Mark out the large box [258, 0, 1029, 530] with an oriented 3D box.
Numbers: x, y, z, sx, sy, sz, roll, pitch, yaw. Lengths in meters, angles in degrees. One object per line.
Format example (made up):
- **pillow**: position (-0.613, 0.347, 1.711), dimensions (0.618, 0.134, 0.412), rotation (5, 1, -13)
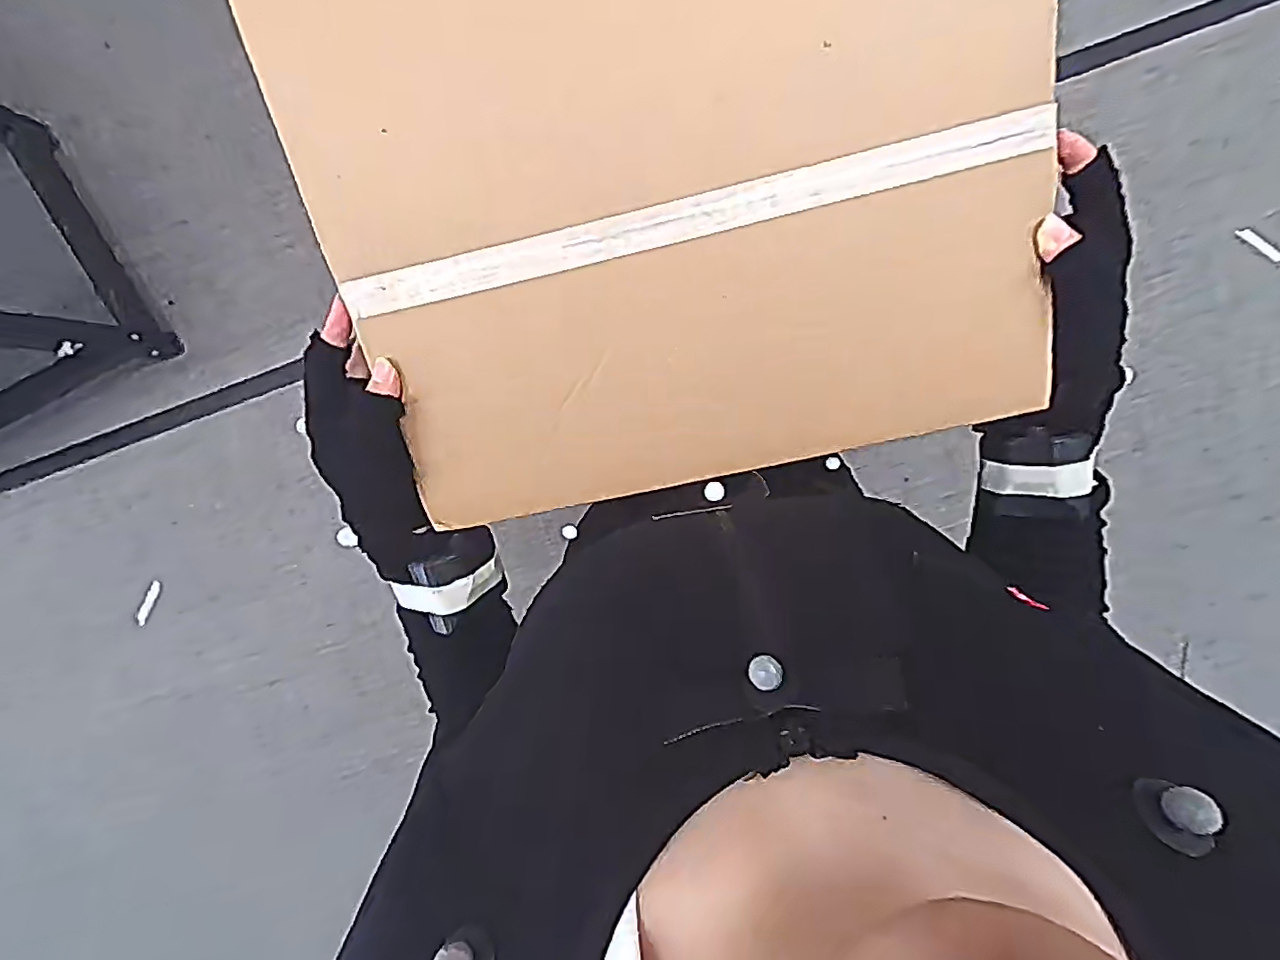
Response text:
- **large box**: position (0.024, -0.196, 0.457), dimensions (0.408, 0.320, 0.320), rotation (-12, 108, 5)
